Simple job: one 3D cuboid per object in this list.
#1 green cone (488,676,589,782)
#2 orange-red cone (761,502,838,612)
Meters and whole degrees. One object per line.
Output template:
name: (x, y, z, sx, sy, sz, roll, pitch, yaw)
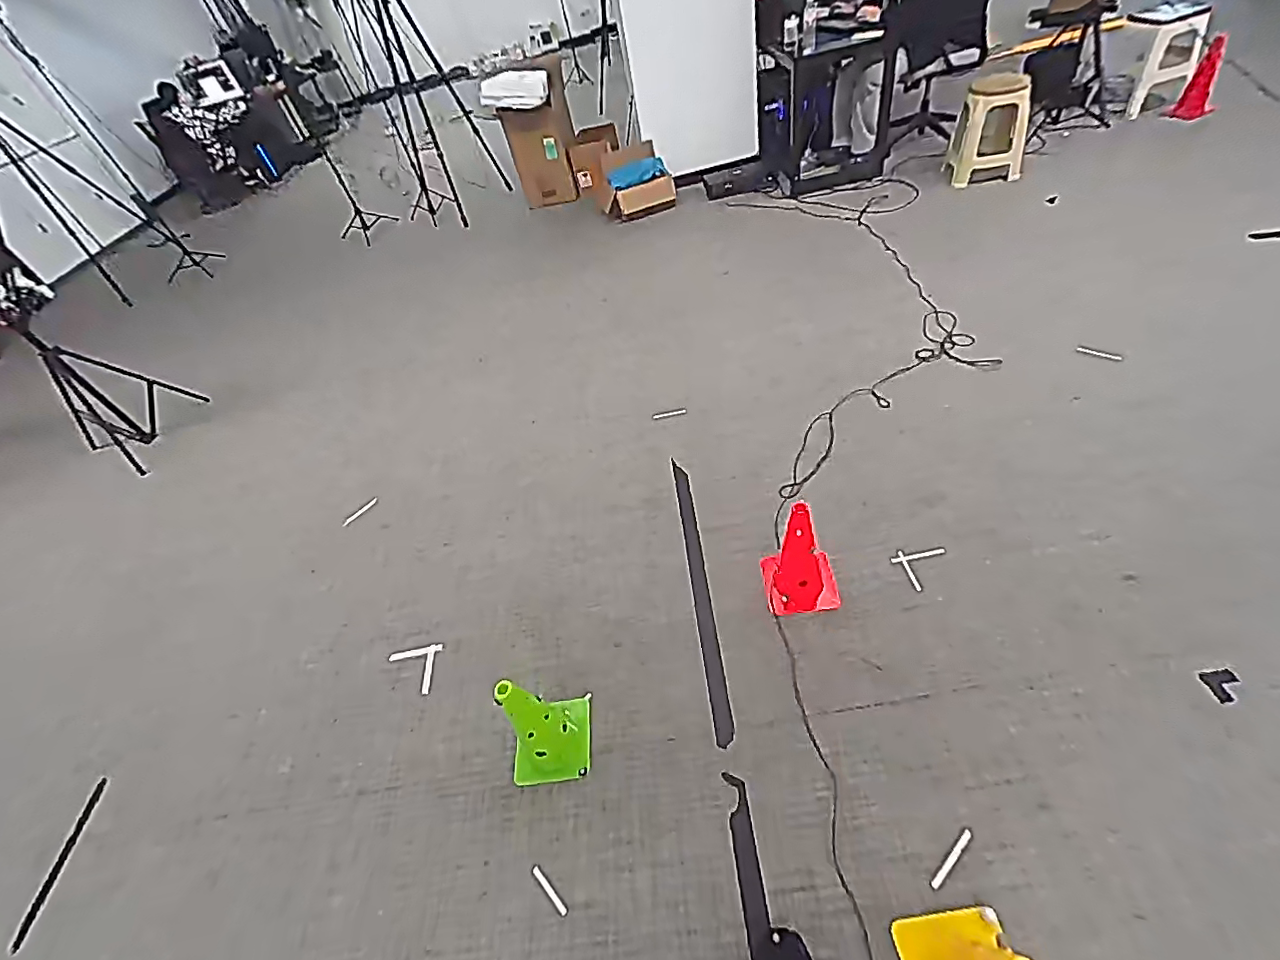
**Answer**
green cone: (-0.269, 0.559, 1.301, 0.202, 0.368, 0.200, -12, 45, 6)
orange-red cone: (0.434, 0.183, 1.469, 0.199, 0.360, 0.198, -7, 47, 8)
